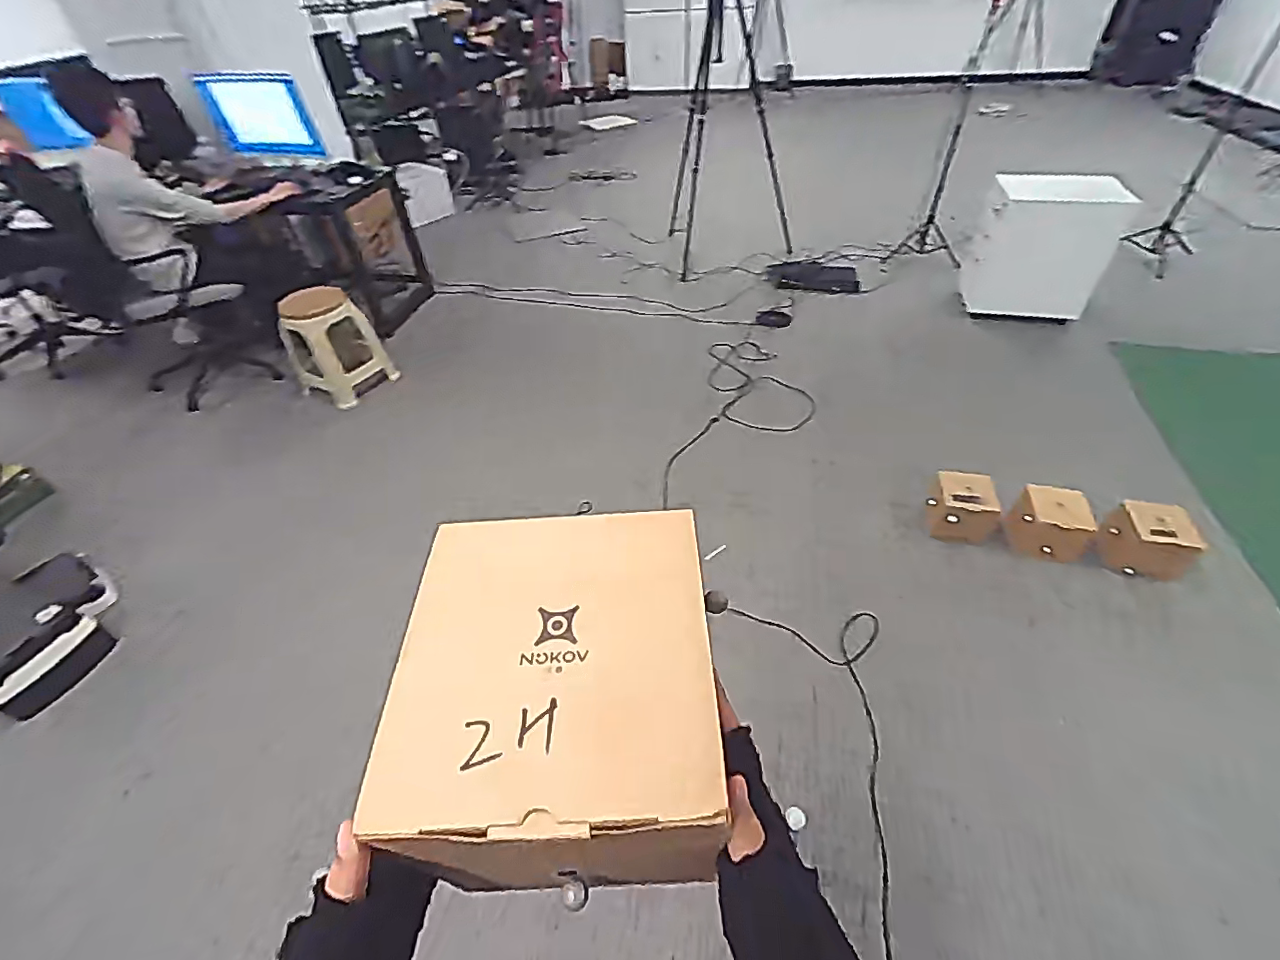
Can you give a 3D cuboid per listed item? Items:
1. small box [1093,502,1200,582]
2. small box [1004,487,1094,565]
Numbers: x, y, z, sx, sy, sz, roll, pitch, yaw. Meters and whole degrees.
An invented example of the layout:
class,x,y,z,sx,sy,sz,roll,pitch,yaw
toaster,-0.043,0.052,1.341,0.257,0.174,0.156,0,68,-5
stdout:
class,x,y,z,sx,sy,sz,roll,pitch,yaw
small box,1.591,0.199,1.713,0.168,0.176,0.179,9,45,13
small box,1.335,0.152,1.780,0.168,0.176,0.179,9,46,13
